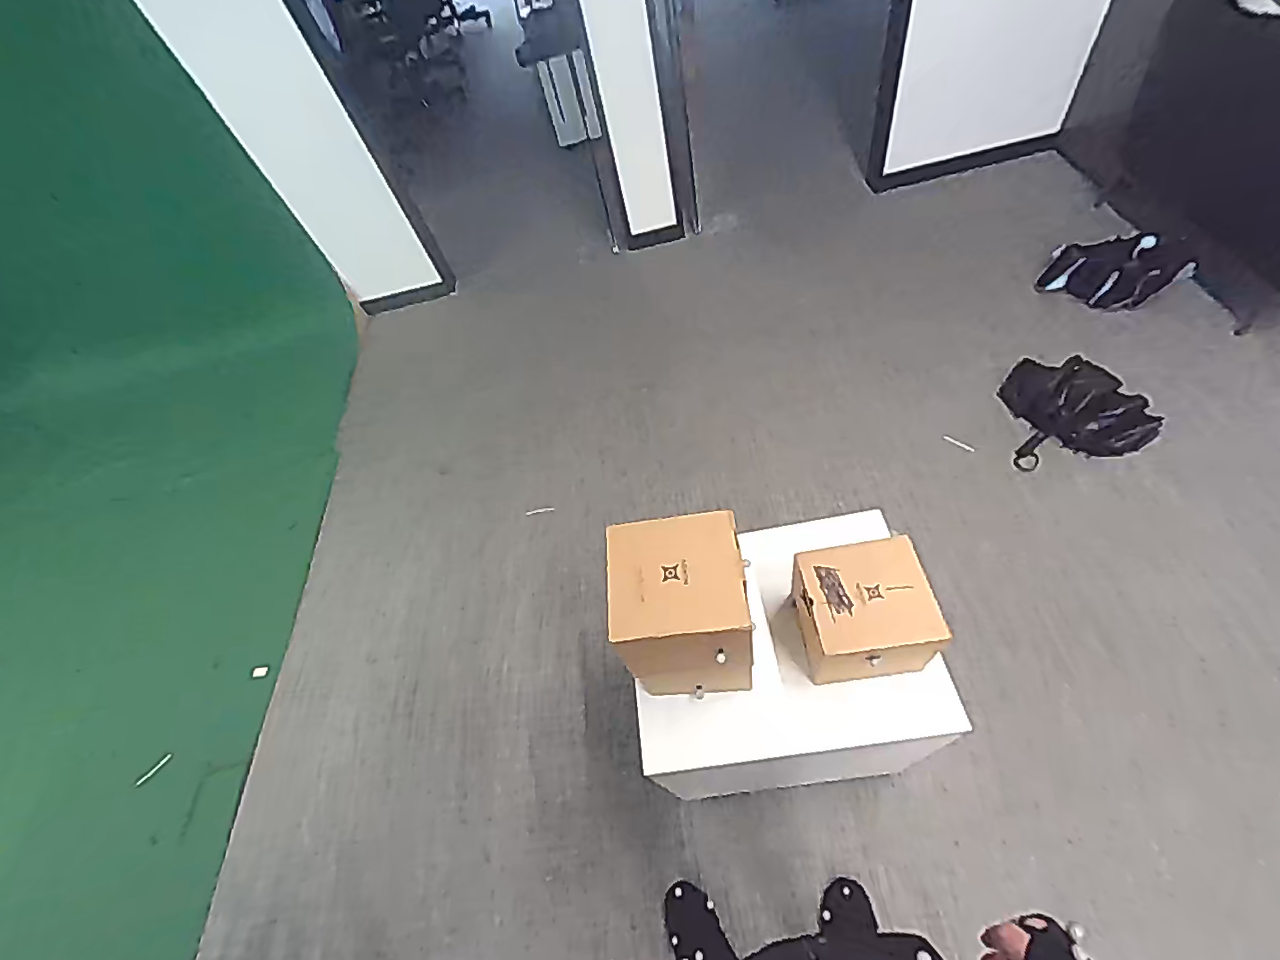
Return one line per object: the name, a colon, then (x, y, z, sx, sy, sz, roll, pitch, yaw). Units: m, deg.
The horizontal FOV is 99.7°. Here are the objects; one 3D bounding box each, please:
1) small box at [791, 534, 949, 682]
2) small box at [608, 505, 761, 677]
small box: (0.342, 0.207, 0.851, 0.179, 0.176, 0.168, -9, 54, 3)
small box: (0.059, 0.156, 0.735, 0.179, 0.176, 0.168, -9, 53, 5)
